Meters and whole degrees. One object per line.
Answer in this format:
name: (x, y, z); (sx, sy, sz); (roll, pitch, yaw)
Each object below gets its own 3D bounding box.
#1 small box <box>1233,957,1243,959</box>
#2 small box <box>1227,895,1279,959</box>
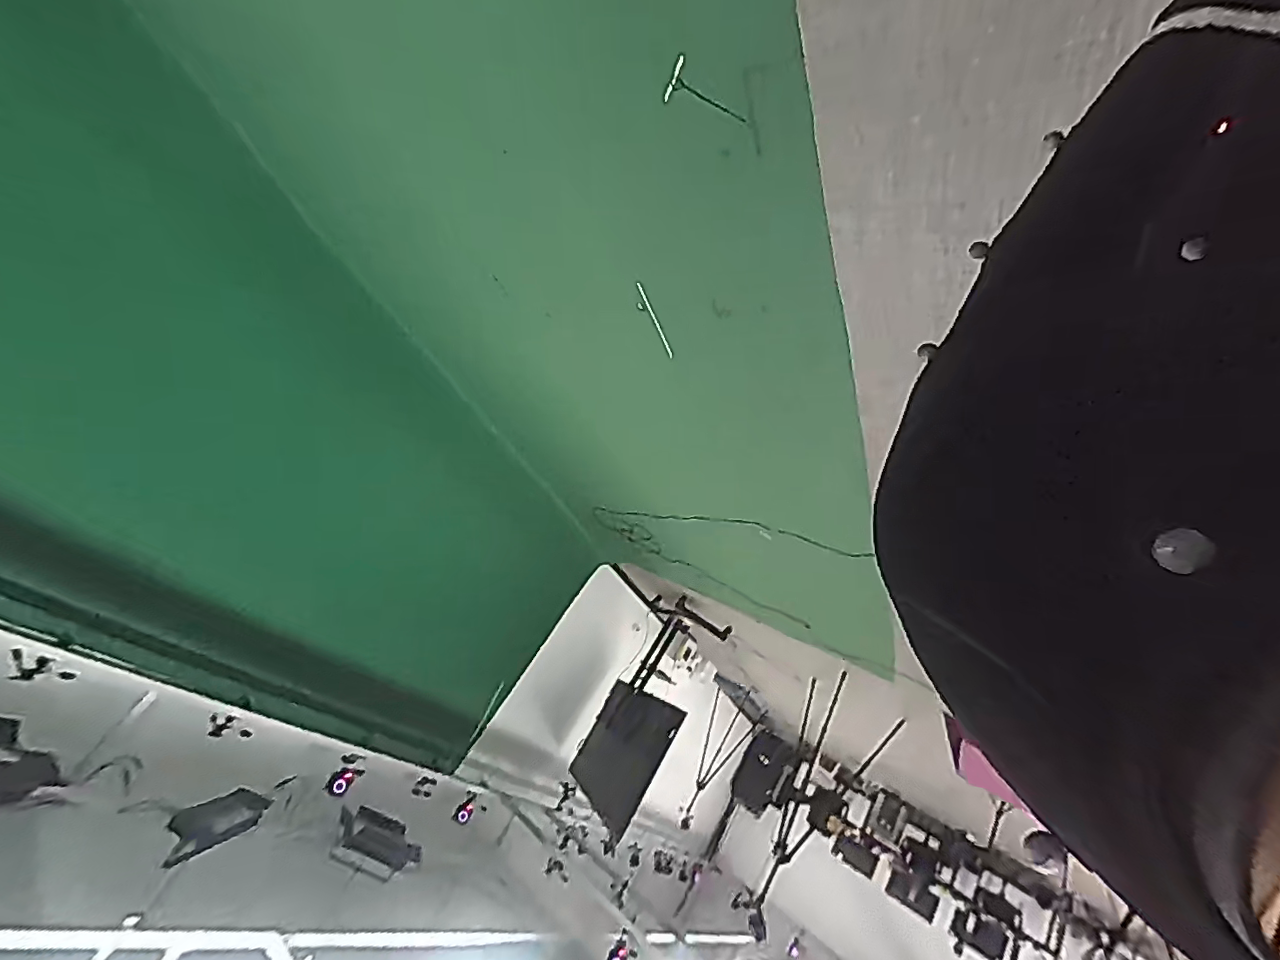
small box: (1.715, 1.425, 1.440); (0.179, 0.176, 0.168); (20, 156, 36)
small box: (1.795, 1.297, 1.505); (0.168, 0.176, 0.179); (19, 155, 37)
